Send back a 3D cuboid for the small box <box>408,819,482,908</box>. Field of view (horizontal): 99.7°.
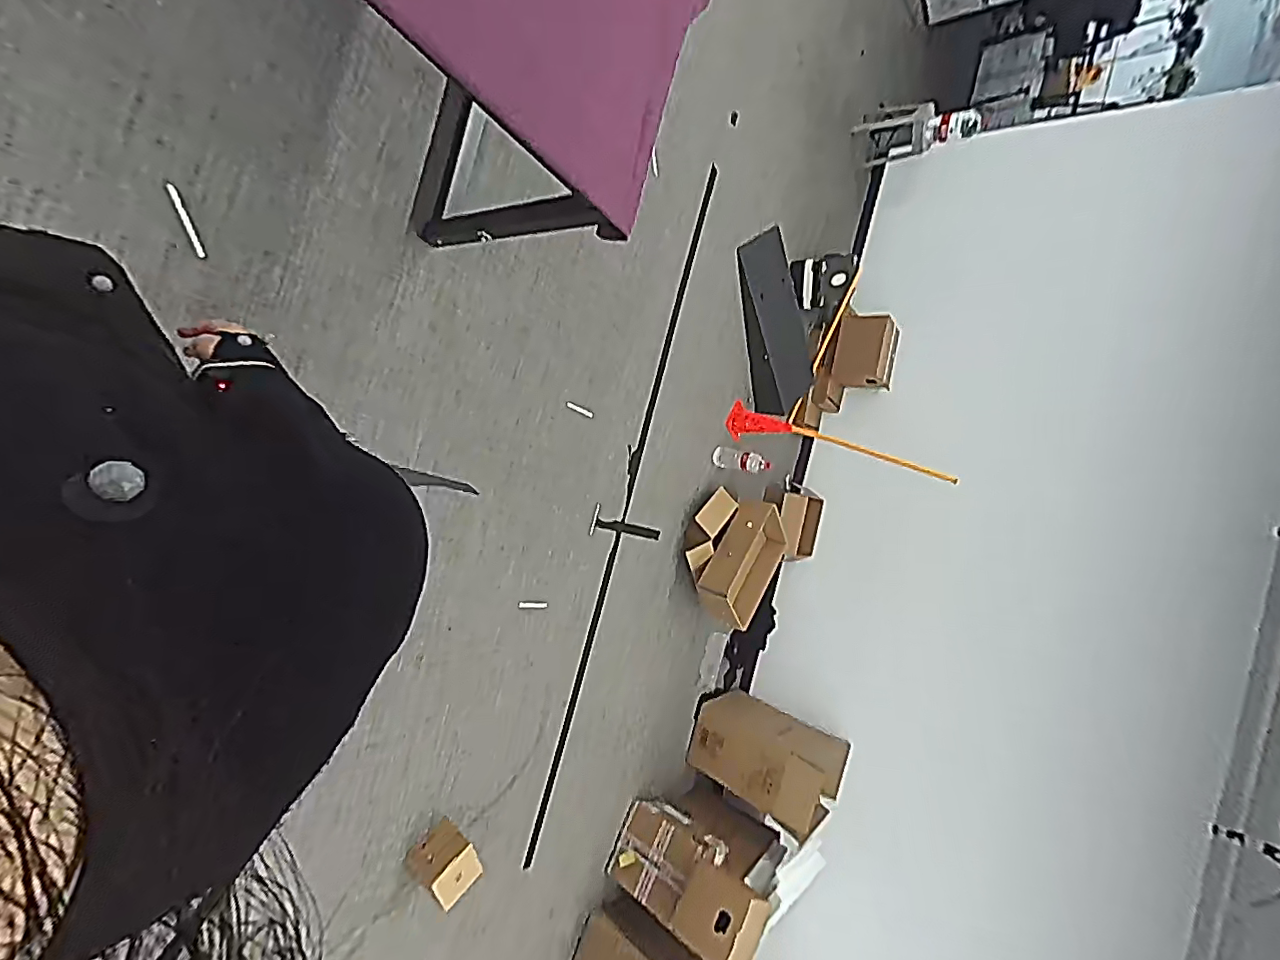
[{"bbox_3d":[-0.702,1.365,1.940,0.168,0.176,0.179,-35,128,-41],"label":"small box"}]
